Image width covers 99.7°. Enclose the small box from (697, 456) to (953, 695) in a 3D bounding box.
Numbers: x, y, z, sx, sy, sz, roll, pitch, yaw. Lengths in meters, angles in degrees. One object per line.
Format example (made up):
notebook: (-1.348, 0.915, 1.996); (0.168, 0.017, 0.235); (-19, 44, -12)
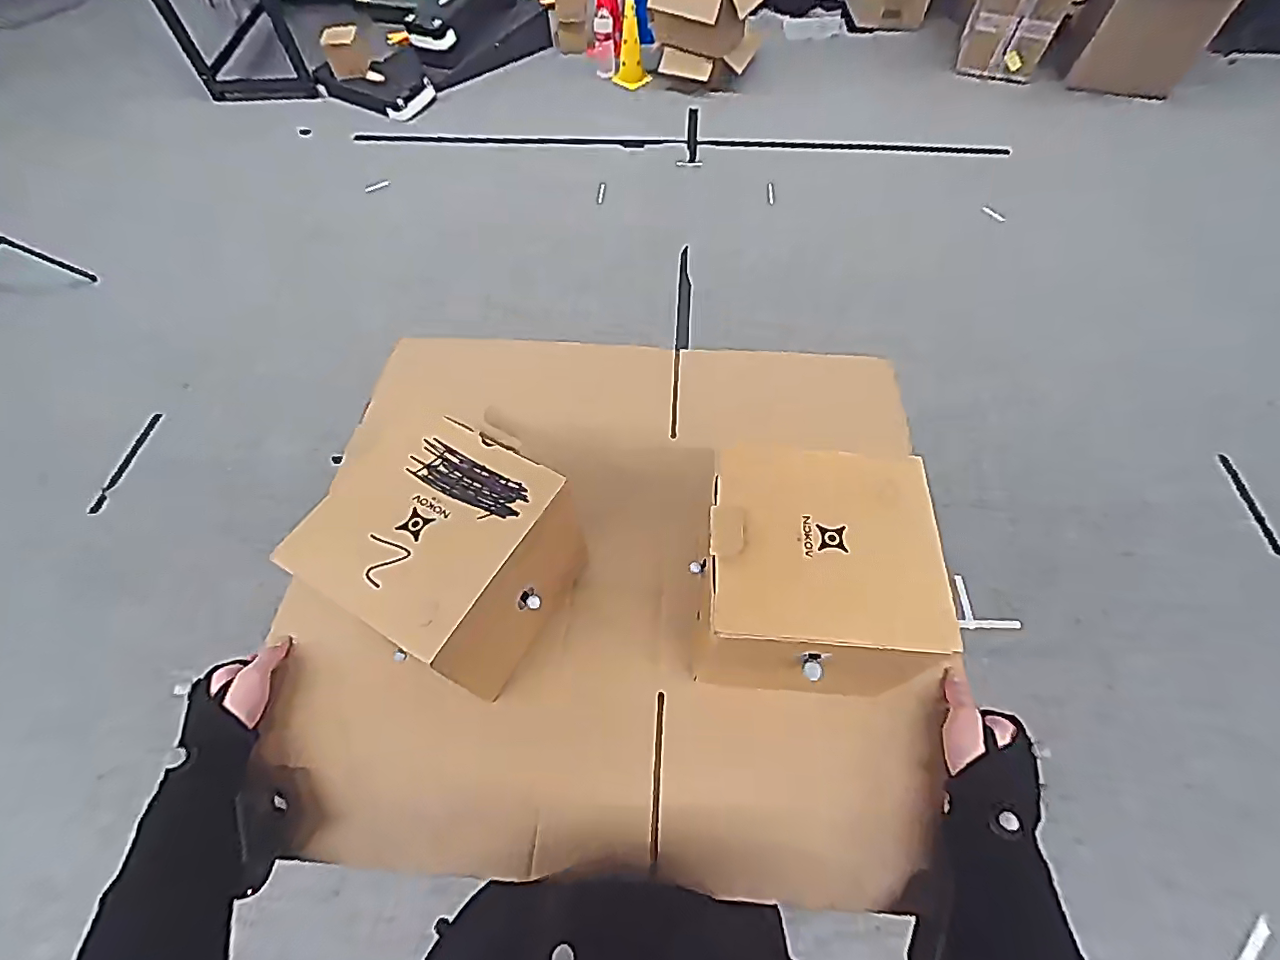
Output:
small box: (0.149, 0.096, 0.503); (0.179, 0.176, 0.168); (3, 59, 4)
